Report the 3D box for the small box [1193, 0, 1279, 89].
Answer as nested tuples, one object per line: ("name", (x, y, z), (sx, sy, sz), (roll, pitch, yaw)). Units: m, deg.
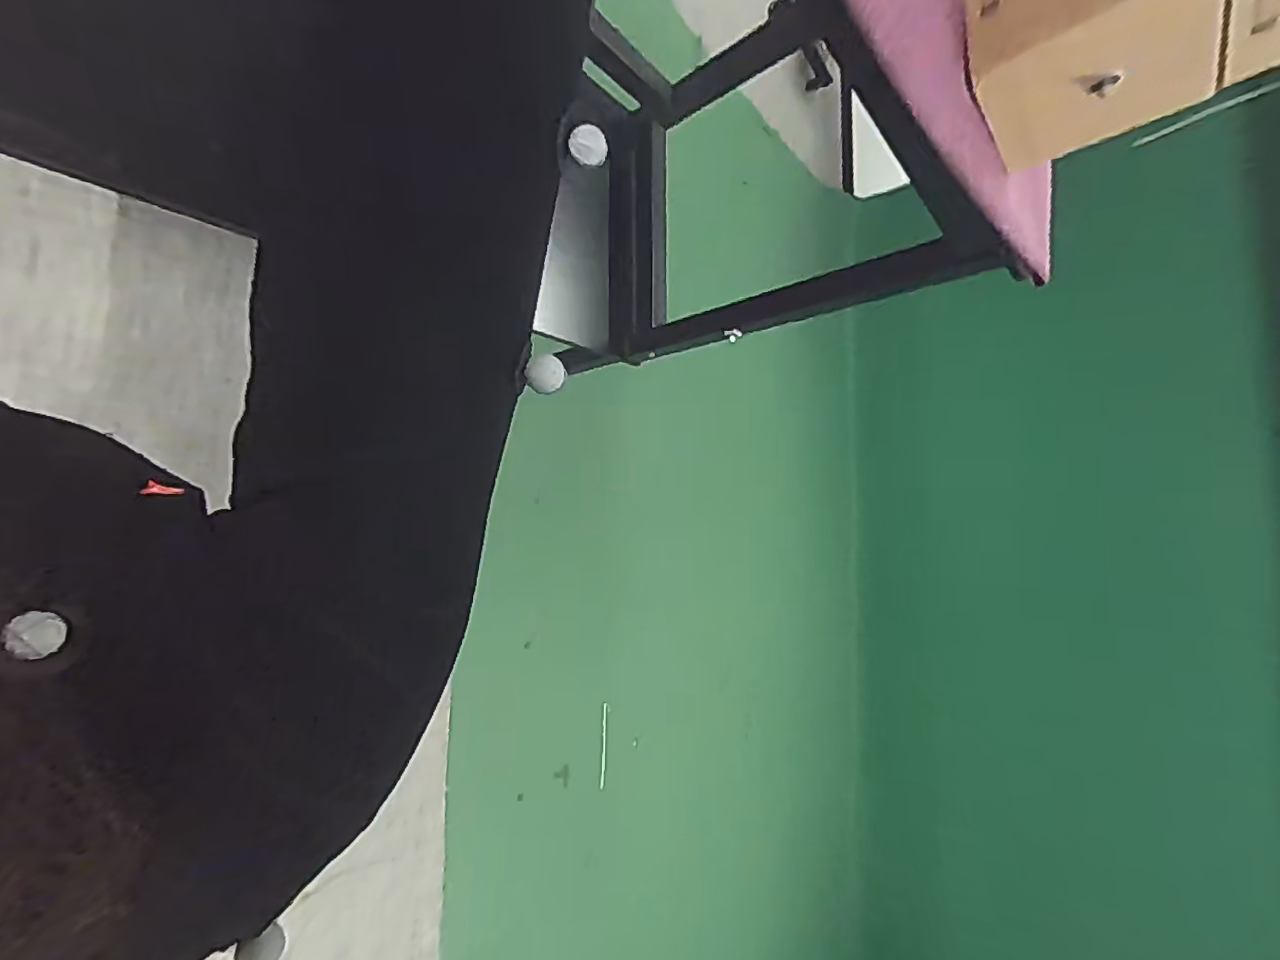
("small box", (0.531, -0.451, 0.400), (0.168, 0.176, 0.179), (9, 79, -46))
